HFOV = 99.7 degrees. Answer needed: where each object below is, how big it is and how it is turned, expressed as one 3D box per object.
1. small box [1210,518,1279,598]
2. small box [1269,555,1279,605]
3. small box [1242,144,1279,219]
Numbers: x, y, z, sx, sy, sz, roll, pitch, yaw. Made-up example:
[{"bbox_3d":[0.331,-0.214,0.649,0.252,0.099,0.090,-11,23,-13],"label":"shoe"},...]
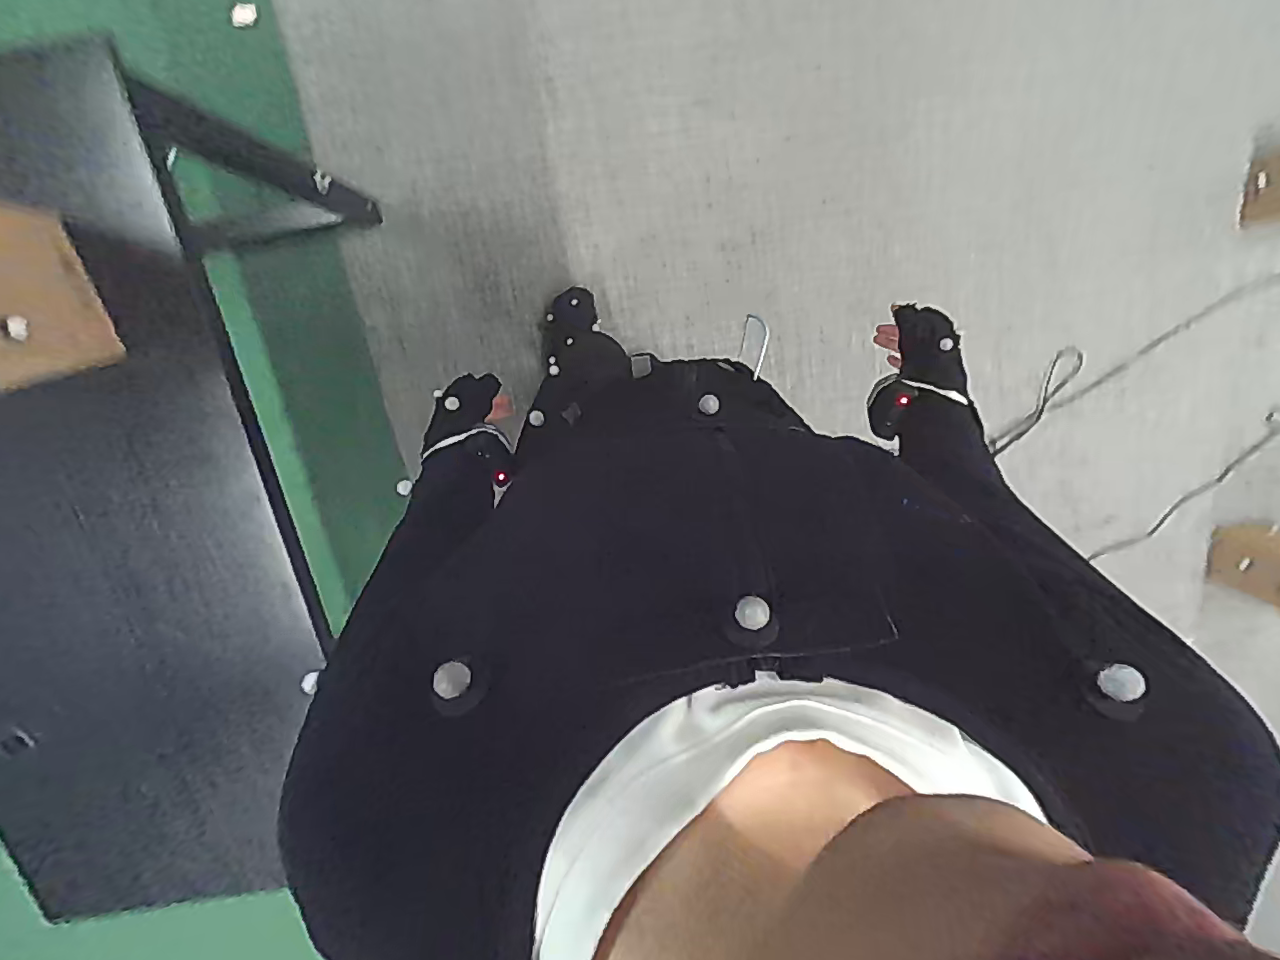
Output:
[{"bbox_3d":[1.782,0.216,1.527,0.168,0.176,0.179,-7,105,0],"label":"small box"},{"bbox_3d":[1.788,0.265,1.370,0.179,0.176,0.168,-7,105,1],"label":"small box"},{"bbox_3d":[1.599,-0.717,1.264,0.179,0.176,0.168,-4,105,-1],"label":"small box"}]
